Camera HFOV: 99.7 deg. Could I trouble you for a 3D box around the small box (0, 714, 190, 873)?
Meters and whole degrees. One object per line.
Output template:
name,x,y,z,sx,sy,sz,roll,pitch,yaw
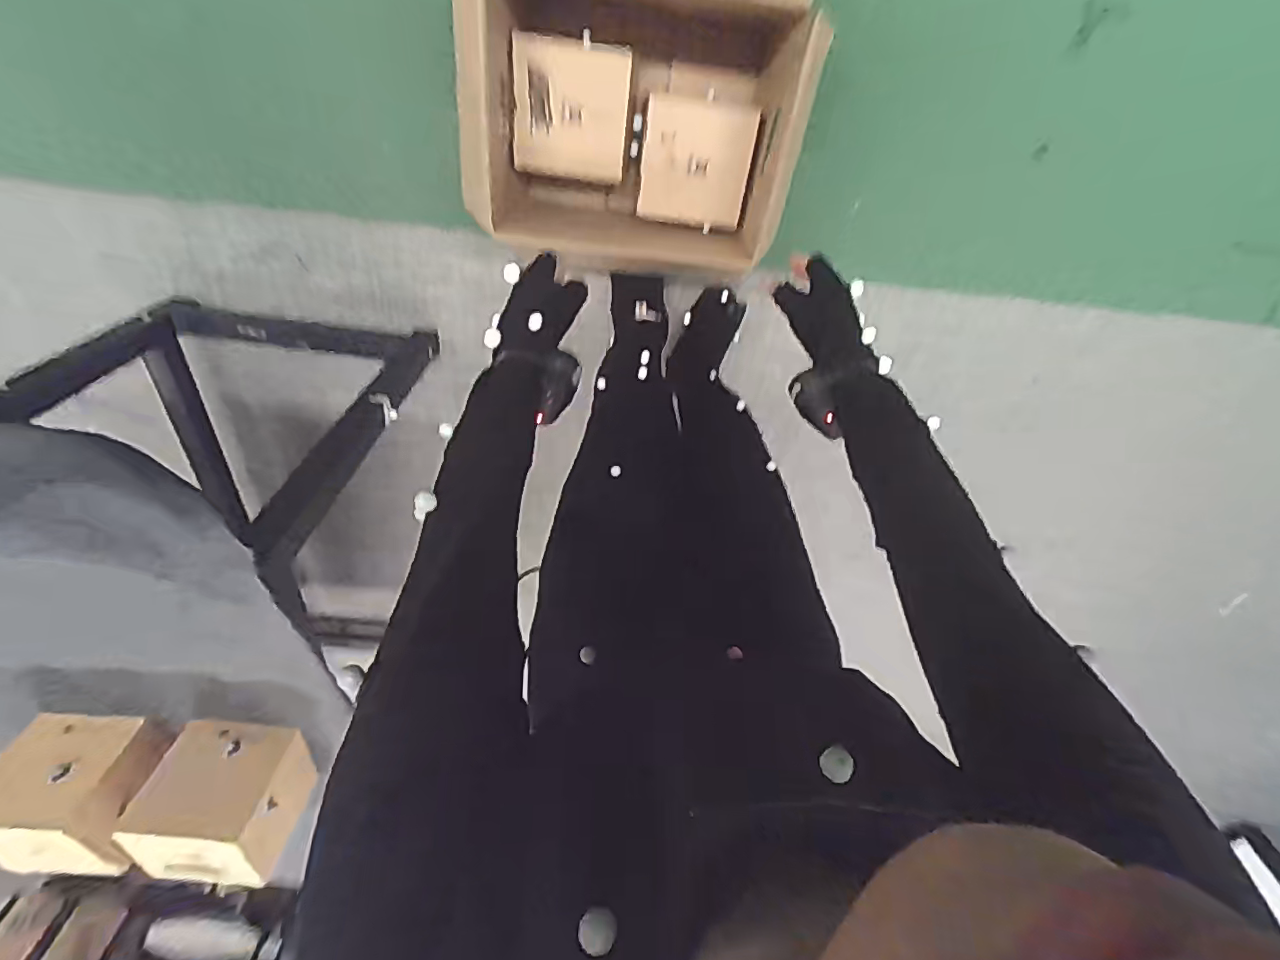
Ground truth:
small box,-0.869,0.485,0.843,0.168,0.176,0.179,3,128,-3
